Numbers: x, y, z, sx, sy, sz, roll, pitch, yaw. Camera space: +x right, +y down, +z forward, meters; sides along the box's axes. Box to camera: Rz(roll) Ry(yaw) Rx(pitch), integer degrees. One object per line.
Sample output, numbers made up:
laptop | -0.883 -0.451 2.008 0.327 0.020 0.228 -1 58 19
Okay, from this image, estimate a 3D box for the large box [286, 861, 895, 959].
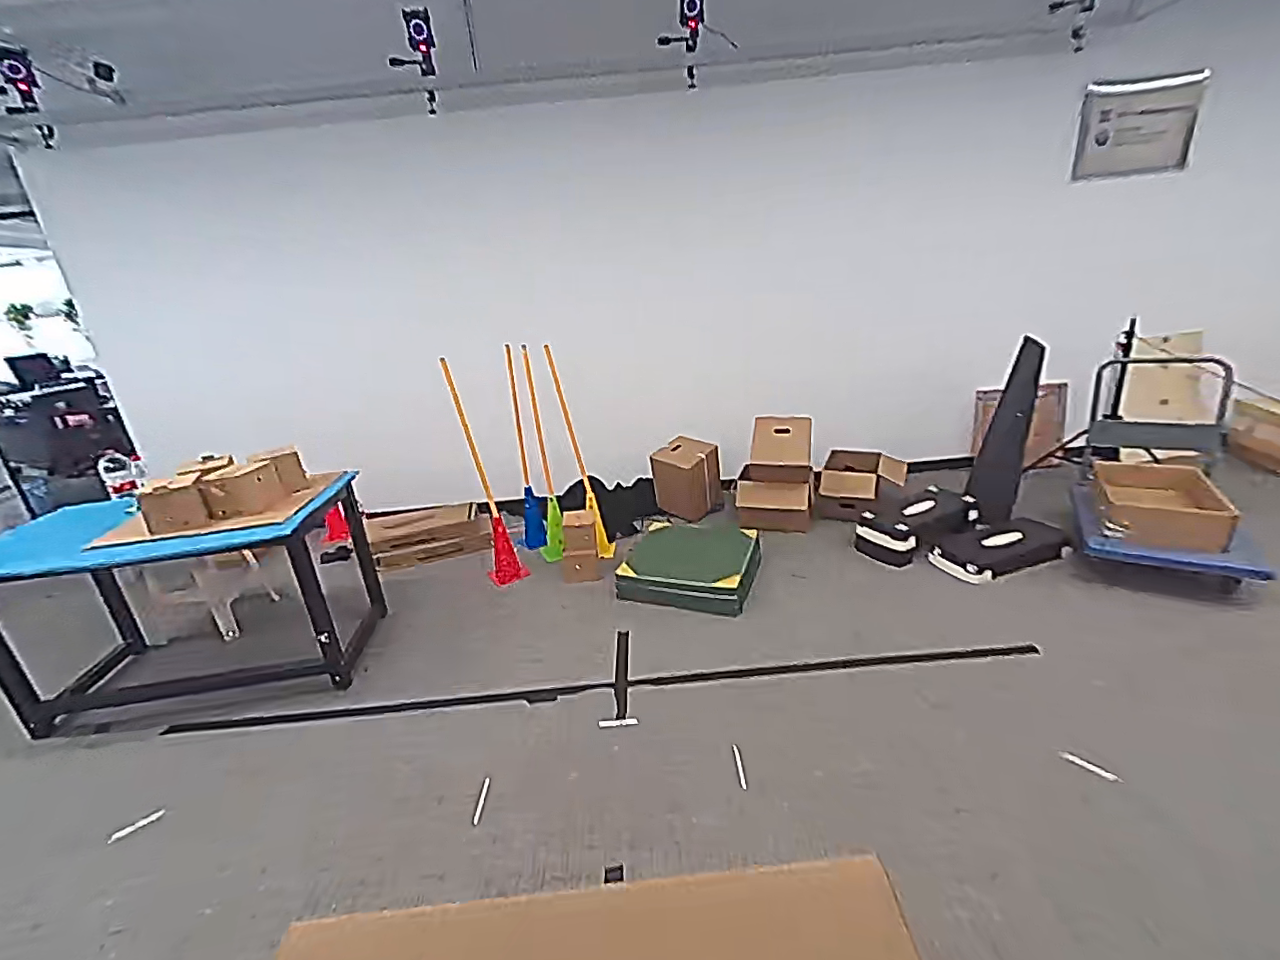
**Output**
large box | -0.016 0.494 0.325 0.408 0.320 0.320 -7 31 1
